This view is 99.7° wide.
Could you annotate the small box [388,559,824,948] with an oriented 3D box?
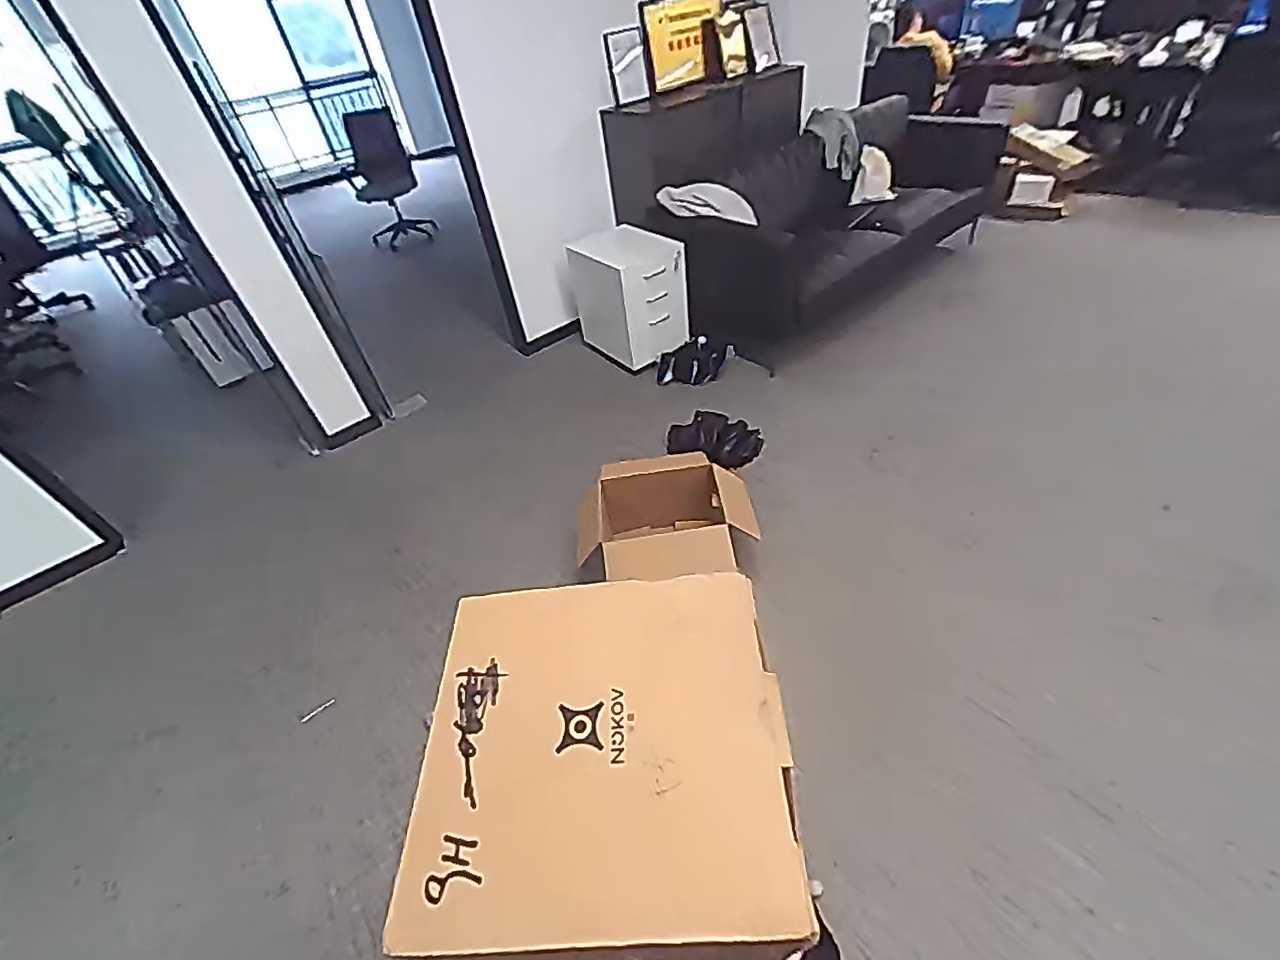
[{"bbox_3d":[-0.009,0.165,0.323,0.179,0.176,0.168,-5,47,3],"label":"small box"}]
